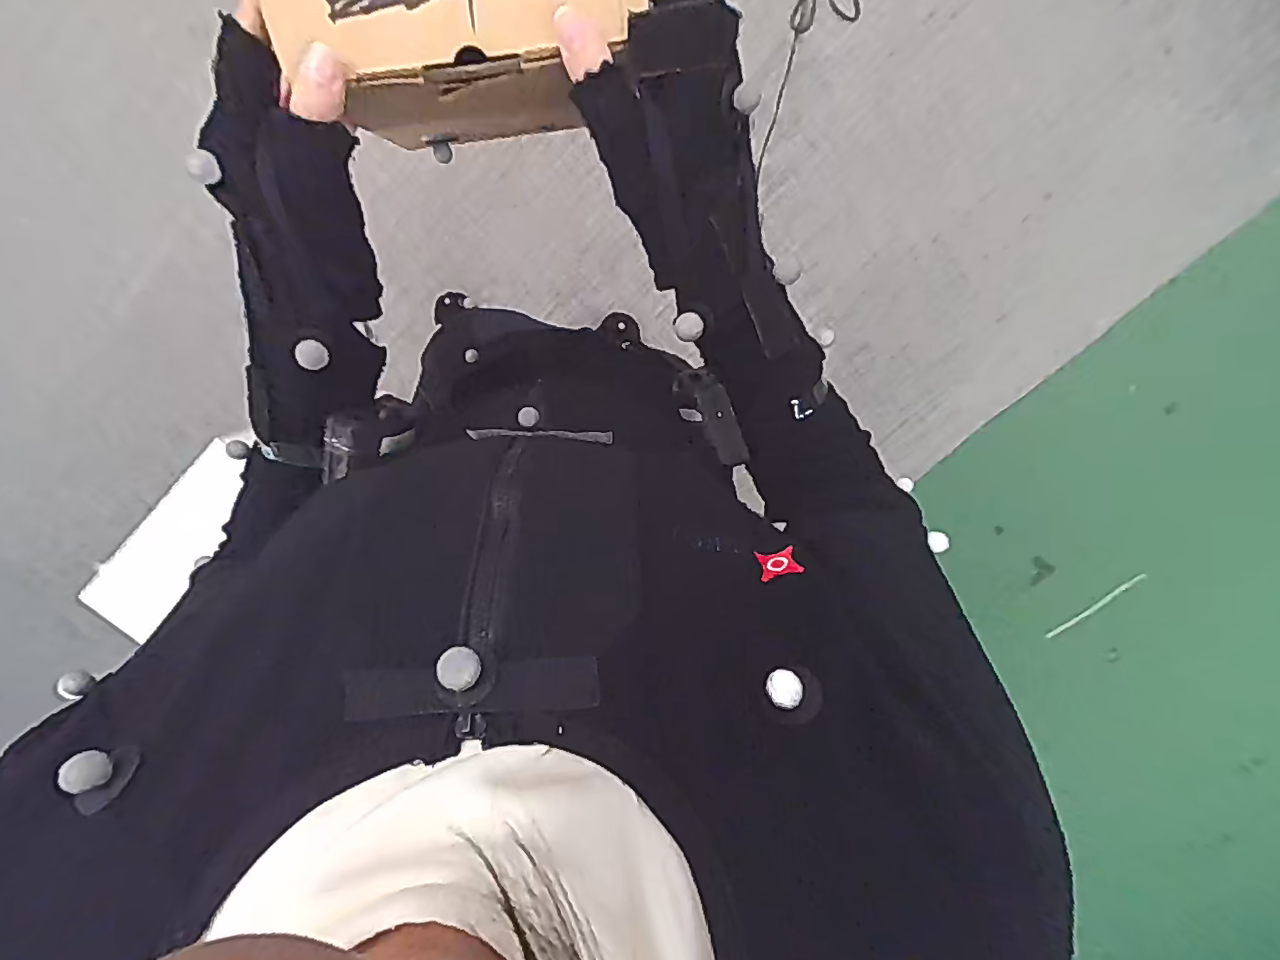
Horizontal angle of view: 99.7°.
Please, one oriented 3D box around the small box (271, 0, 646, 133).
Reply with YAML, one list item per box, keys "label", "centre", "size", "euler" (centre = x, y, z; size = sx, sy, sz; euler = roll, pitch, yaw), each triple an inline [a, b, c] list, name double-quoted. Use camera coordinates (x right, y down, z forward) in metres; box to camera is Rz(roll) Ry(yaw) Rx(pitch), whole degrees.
- label: "small box"
  centre: [-0.088, -0.301, 0.285]
  size: [0.168, 0.176, 0.179]
  euler: [-7, 113, -1]
